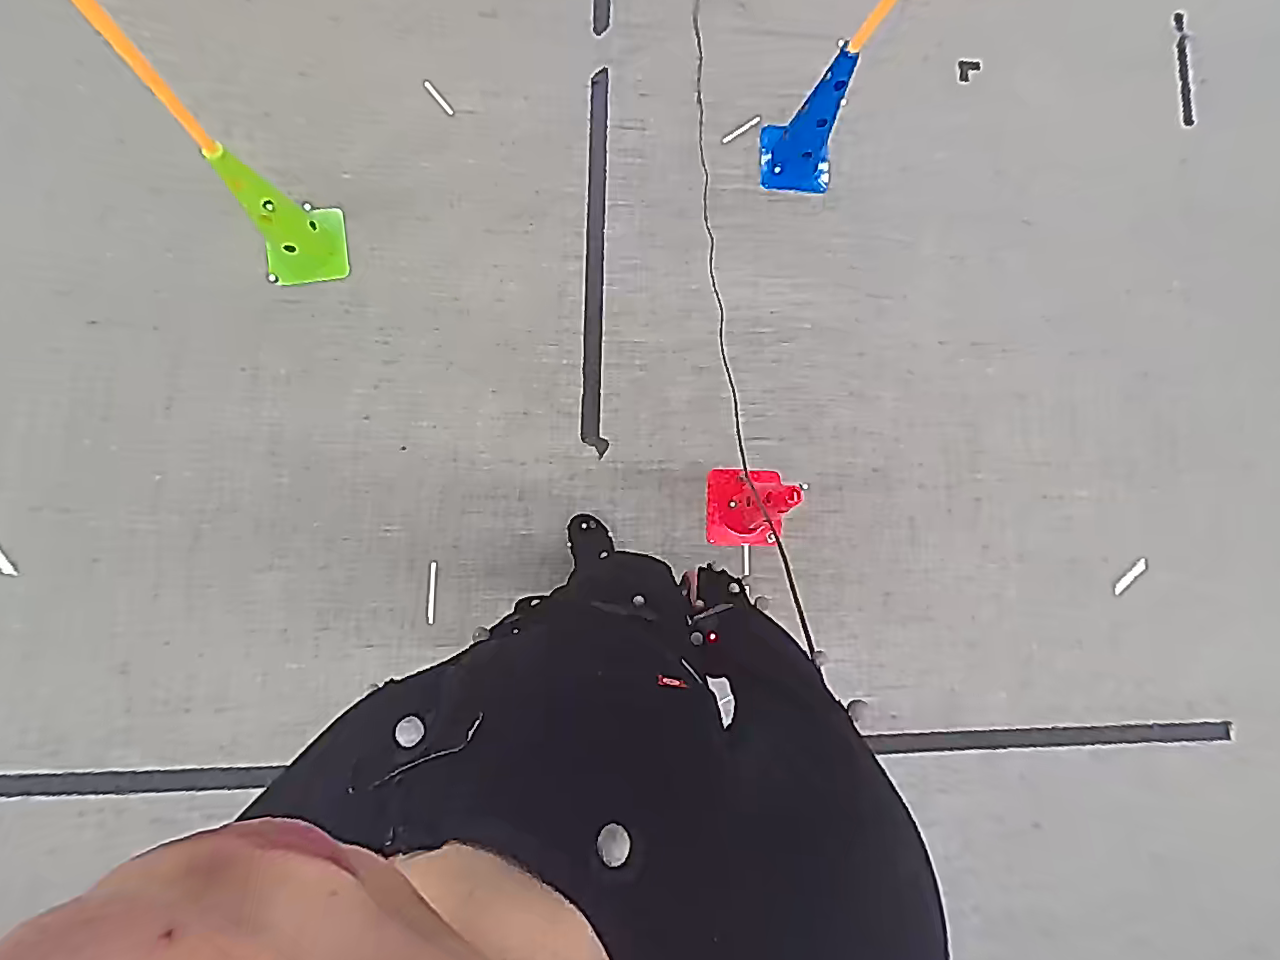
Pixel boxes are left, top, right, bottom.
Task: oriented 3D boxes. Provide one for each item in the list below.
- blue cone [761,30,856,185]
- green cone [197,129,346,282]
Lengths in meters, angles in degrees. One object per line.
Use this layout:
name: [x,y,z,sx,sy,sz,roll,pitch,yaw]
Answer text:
blue cone: [0.456,-0.964,1.399,0.193,0.380,0.192,4,82,-4]
green cone: [-0.861,-0.643,1.240,0.200,0.368,0.202,-10,82,-6]
